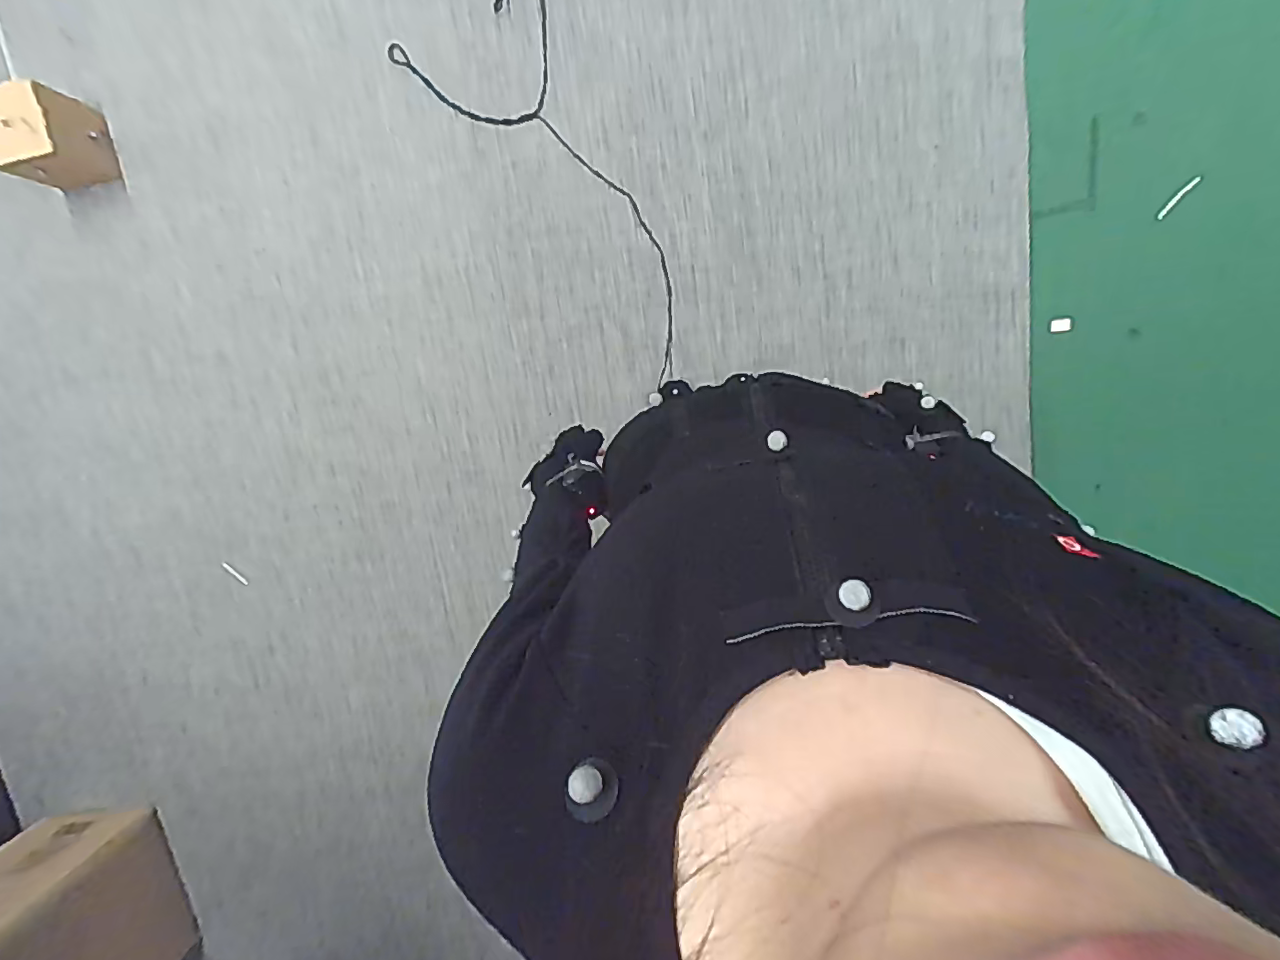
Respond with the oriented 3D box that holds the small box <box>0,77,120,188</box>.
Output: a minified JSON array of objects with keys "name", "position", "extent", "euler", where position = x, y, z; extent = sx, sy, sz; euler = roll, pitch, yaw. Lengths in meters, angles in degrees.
[{"name":"small box","position":[-1.474,-0.853,1.347],"extent":[0.179,0.176,0.168],"euler":[-9,100,5]}]
